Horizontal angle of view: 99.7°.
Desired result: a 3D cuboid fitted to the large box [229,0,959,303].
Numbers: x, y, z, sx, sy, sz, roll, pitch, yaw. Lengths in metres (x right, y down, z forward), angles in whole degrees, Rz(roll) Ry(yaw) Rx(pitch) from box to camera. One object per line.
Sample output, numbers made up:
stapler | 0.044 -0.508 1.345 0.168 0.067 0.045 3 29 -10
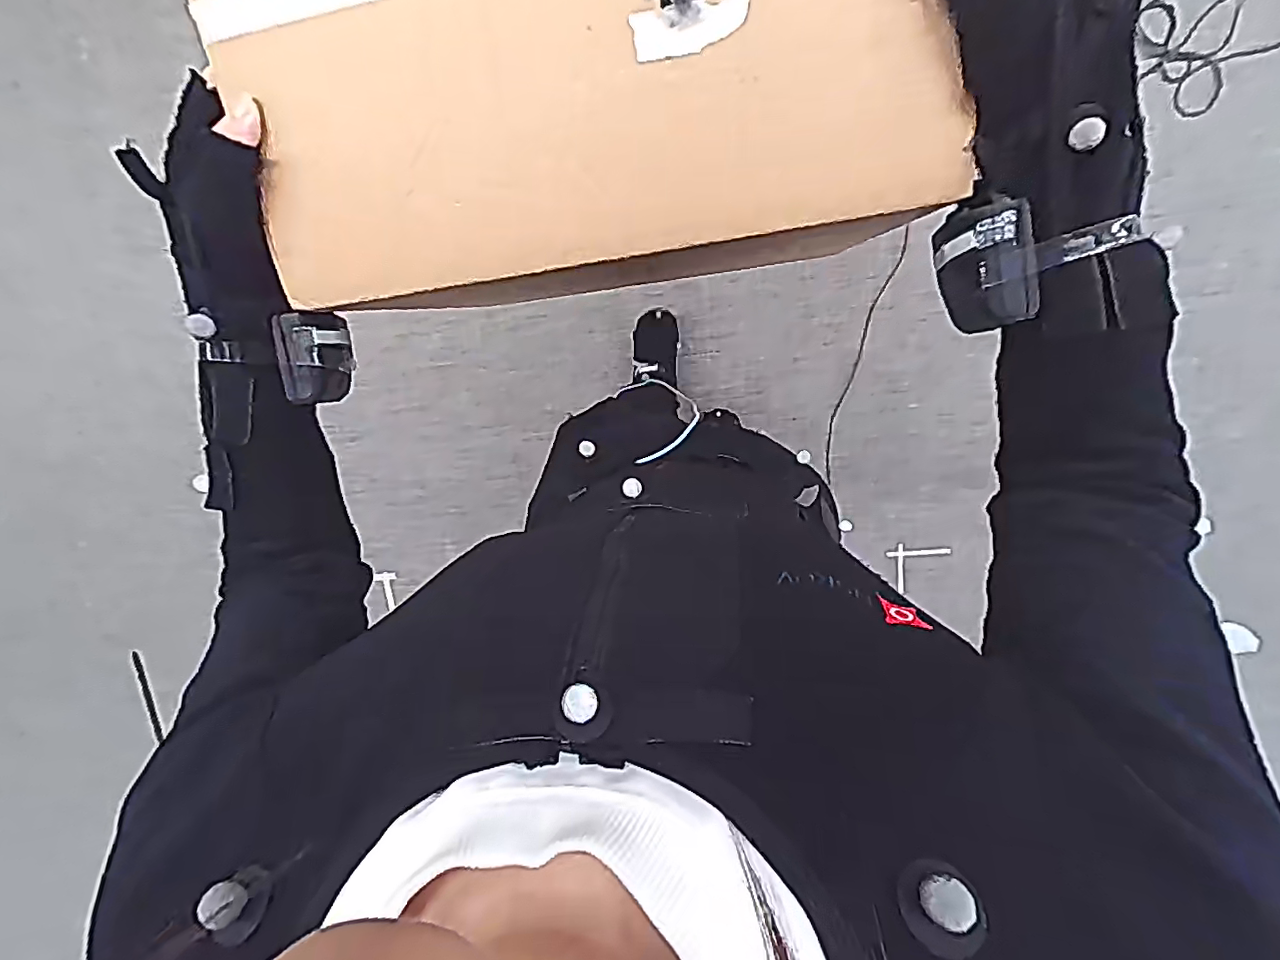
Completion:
large box | -0.027 -0.332 0.426 0.408 0.320 0.320 -6 108 9
